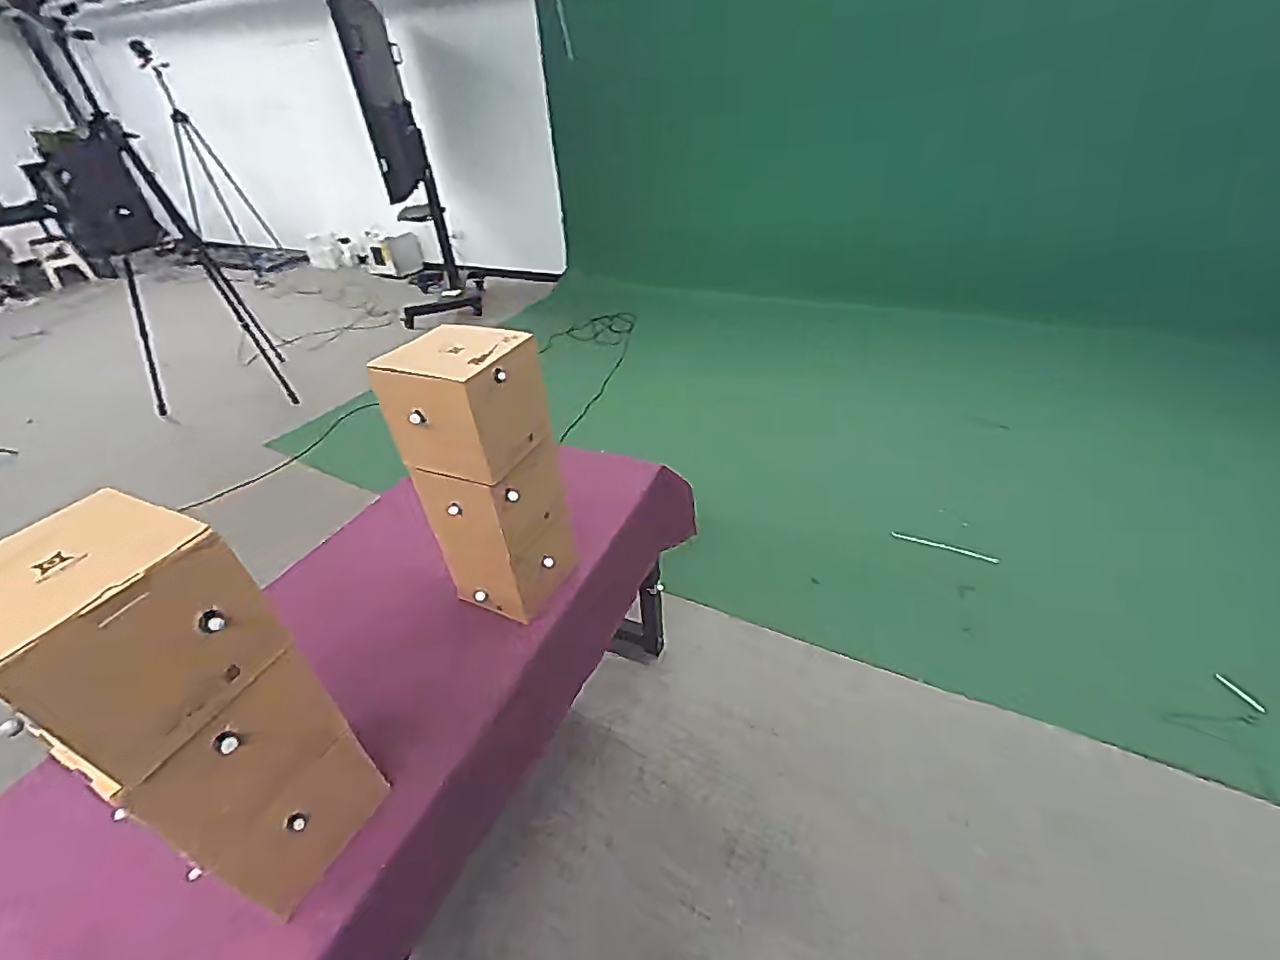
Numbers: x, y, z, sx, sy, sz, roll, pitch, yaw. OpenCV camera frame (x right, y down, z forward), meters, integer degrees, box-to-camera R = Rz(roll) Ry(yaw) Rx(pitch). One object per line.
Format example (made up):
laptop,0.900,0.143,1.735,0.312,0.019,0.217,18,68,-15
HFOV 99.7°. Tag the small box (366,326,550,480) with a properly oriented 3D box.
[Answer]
small box,-0.260,-0.118,0.811,0.179,0.176,0.168,11,40,22

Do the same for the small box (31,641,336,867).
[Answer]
small box,-0.470,0.270,0.593,0.168,0.176,0.179,14,42,23

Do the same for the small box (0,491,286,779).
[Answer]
small box,-0.478,0.139,0.496,0.179,0.176,0.168,12,40,22

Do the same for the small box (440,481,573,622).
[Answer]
small box,-0.240,0.133,1.025,0.168,0.176,0.179,14,41,24

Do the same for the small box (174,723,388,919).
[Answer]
small box,-0.461,0.403,0.686,0.168,0.176,0.179,15,40,24
